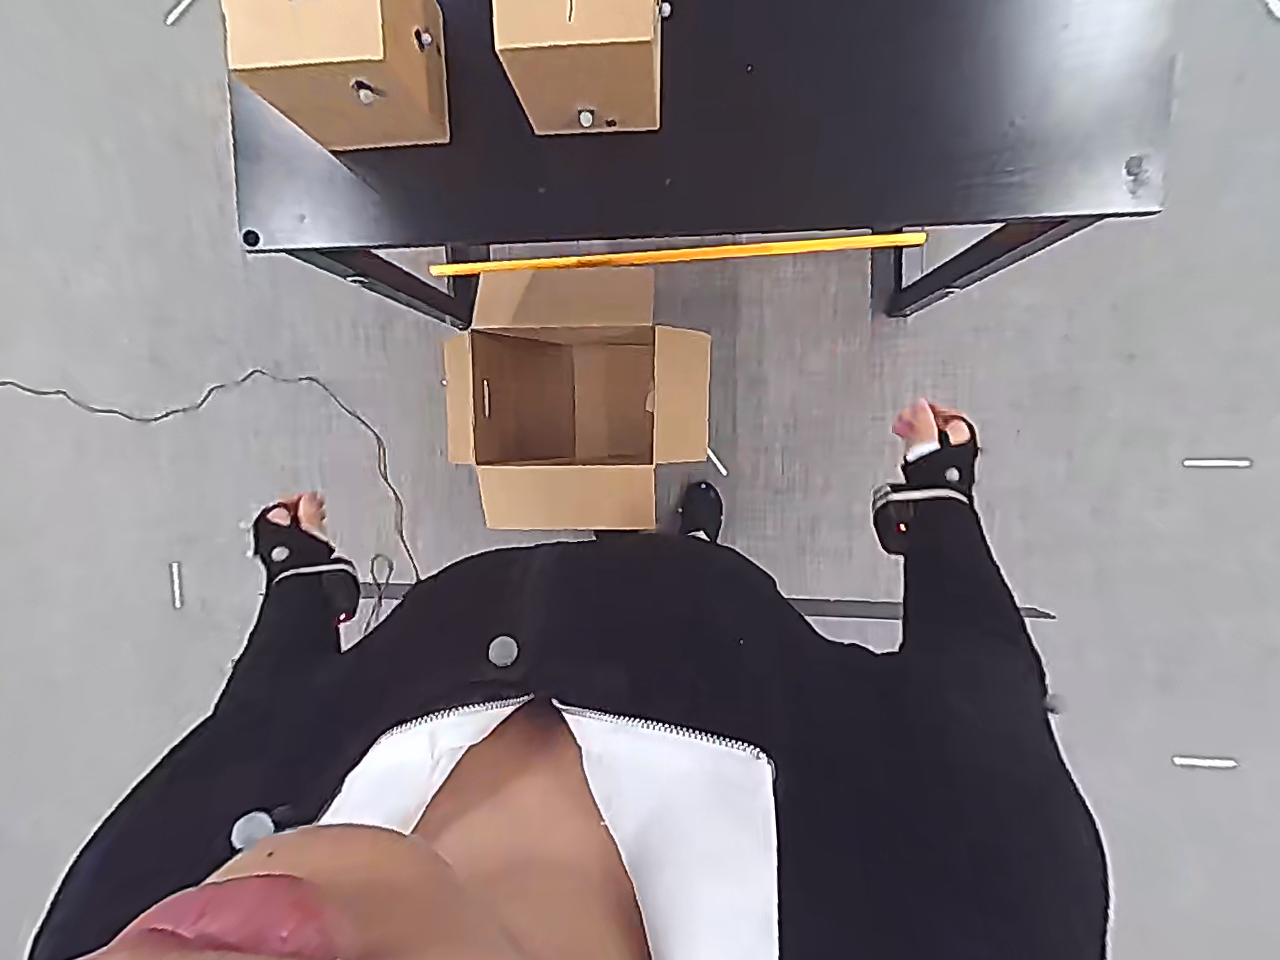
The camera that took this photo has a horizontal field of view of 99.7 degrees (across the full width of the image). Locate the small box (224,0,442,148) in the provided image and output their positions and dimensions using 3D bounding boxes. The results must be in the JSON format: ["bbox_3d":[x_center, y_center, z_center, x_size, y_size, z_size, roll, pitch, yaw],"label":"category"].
[{"bbox_3d":[-0.349,-0.524,0.644,0.179,0.176,0.168,-1,95,4],"label":"small box"}]

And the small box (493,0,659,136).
[{"bbox_3d":[-0.064,-0.535,0.626,0.168,0.176,0.179,1,96,4],"label":"small box"}]
